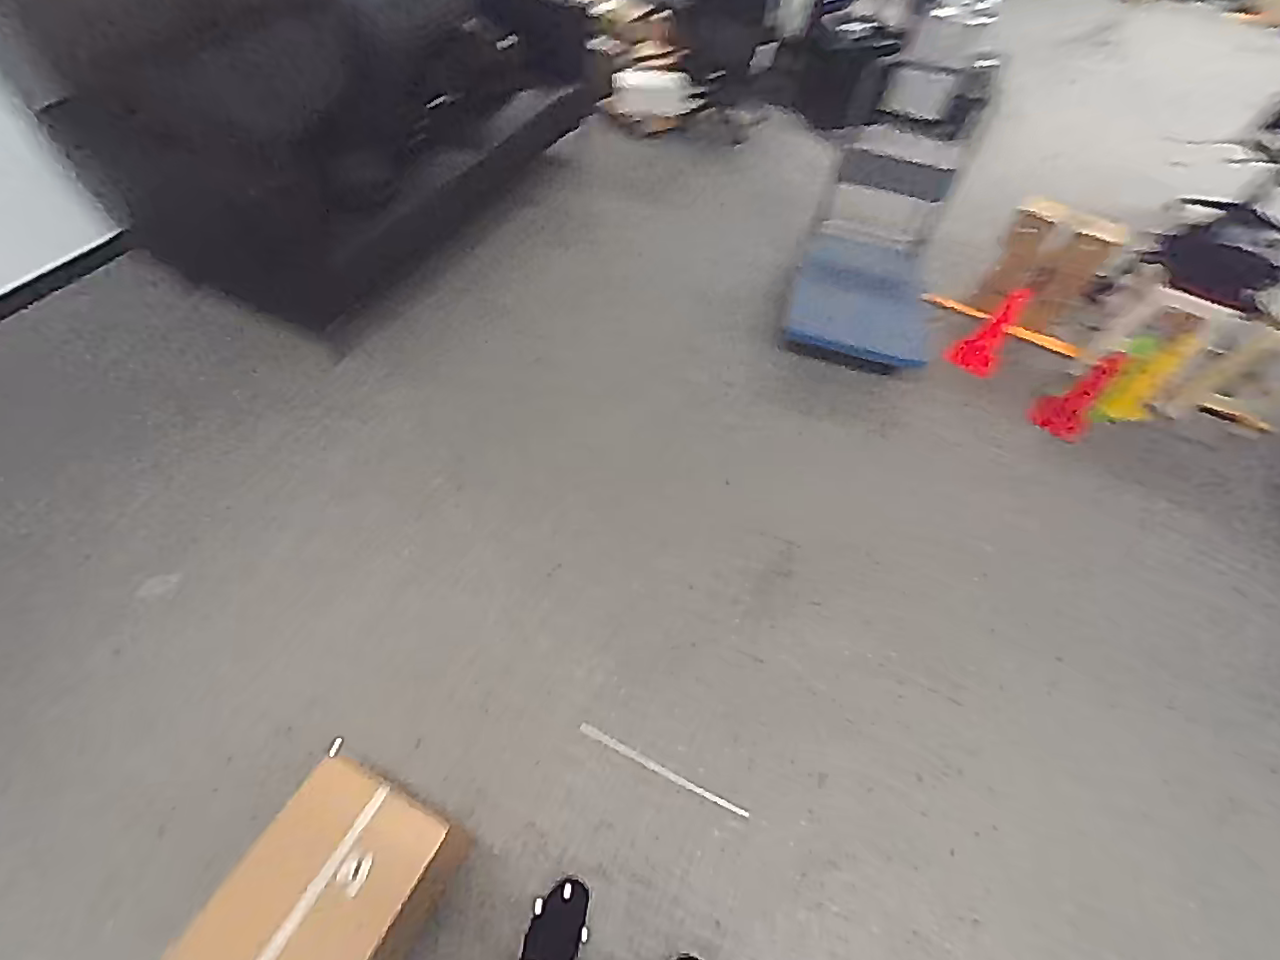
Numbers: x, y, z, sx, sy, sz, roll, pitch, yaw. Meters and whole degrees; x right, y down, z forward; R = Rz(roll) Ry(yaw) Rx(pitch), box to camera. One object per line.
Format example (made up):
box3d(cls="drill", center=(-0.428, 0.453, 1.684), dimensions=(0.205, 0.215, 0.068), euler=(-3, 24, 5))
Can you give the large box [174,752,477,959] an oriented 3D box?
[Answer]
box3d(cls="large box", center=(-0.608, 0.863, 1.125), dimensions=(0.320, 0.320, 0.408), euler=(25, 56, 12))
